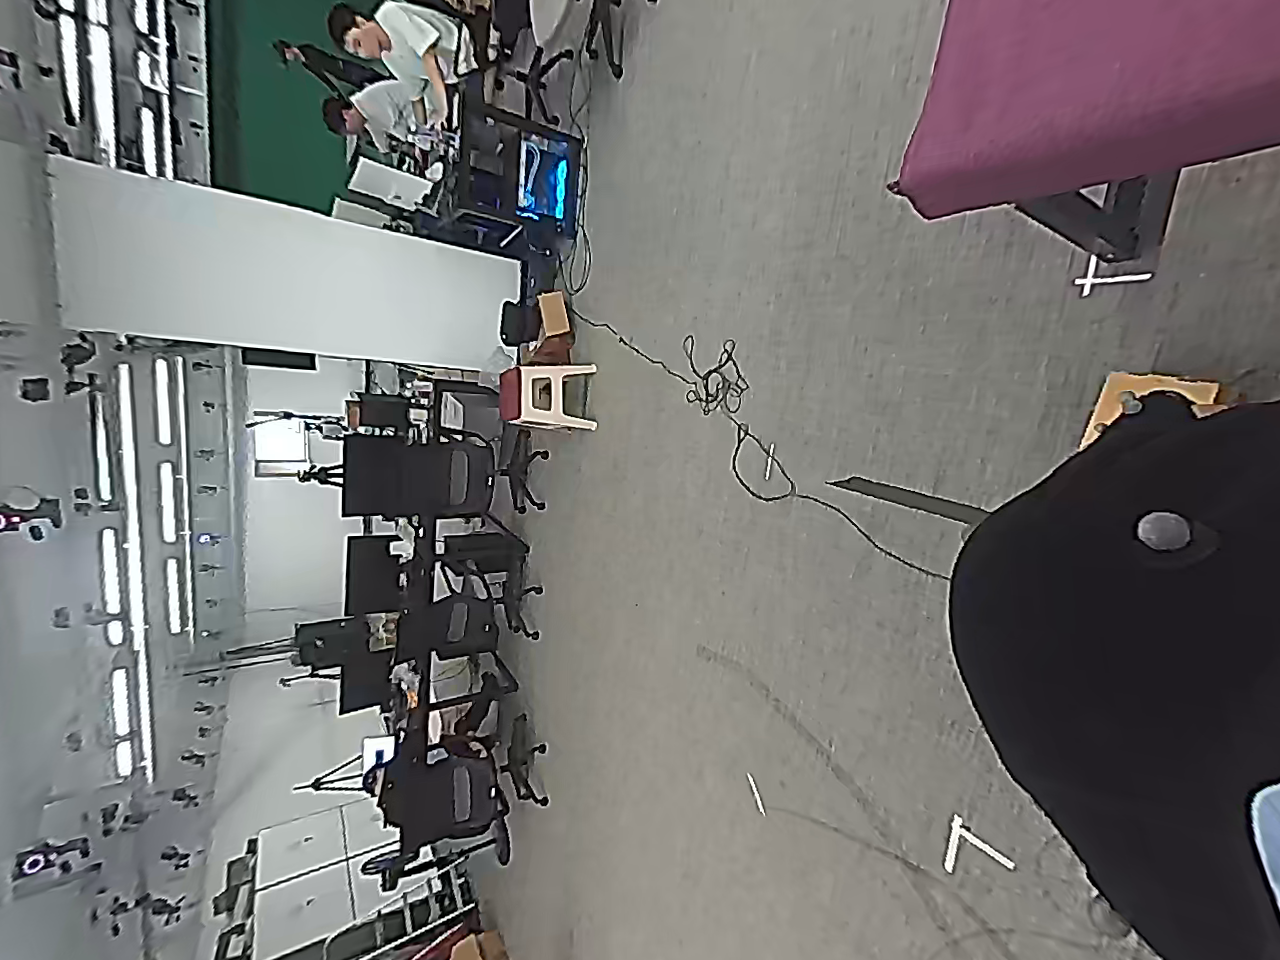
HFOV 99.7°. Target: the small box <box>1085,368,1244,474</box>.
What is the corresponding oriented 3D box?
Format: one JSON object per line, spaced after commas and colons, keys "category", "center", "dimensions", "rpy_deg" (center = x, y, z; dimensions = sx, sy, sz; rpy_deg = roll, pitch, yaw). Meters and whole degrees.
{"category": "small box", "center": [1.046, -0.118, 1.080], "dimensions": [0.168, 0.176, 0.179], "rpy_deg": [30, 116, 52]}
